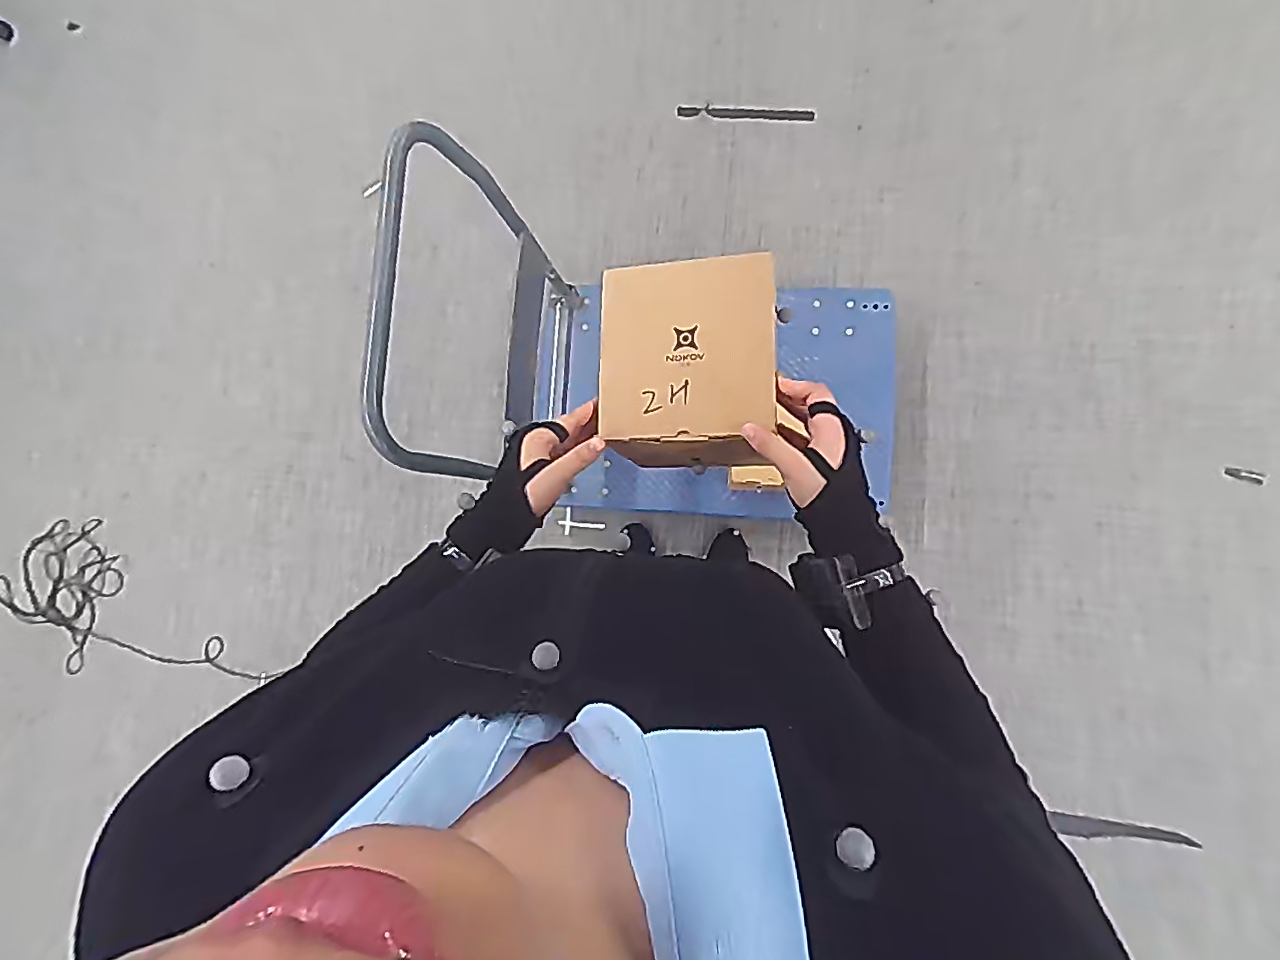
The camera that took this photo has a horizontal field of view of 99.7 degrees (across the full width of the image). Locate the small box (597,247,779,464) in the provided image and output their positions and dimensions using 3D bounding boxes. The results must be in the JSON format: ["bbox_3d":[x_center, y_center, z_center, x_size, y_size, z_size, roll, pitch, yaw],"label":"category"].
[{"bbox_3d":[0.061,-0.116,0.573,0.168,0.176,0.179,-1,83,15],"label":"small box"}]

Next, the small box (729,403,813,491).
[{"bbox_3d":[0.291,-0.071,1.230,0.168,0.176,0.179,3,85,7],"label":"small box"}]
